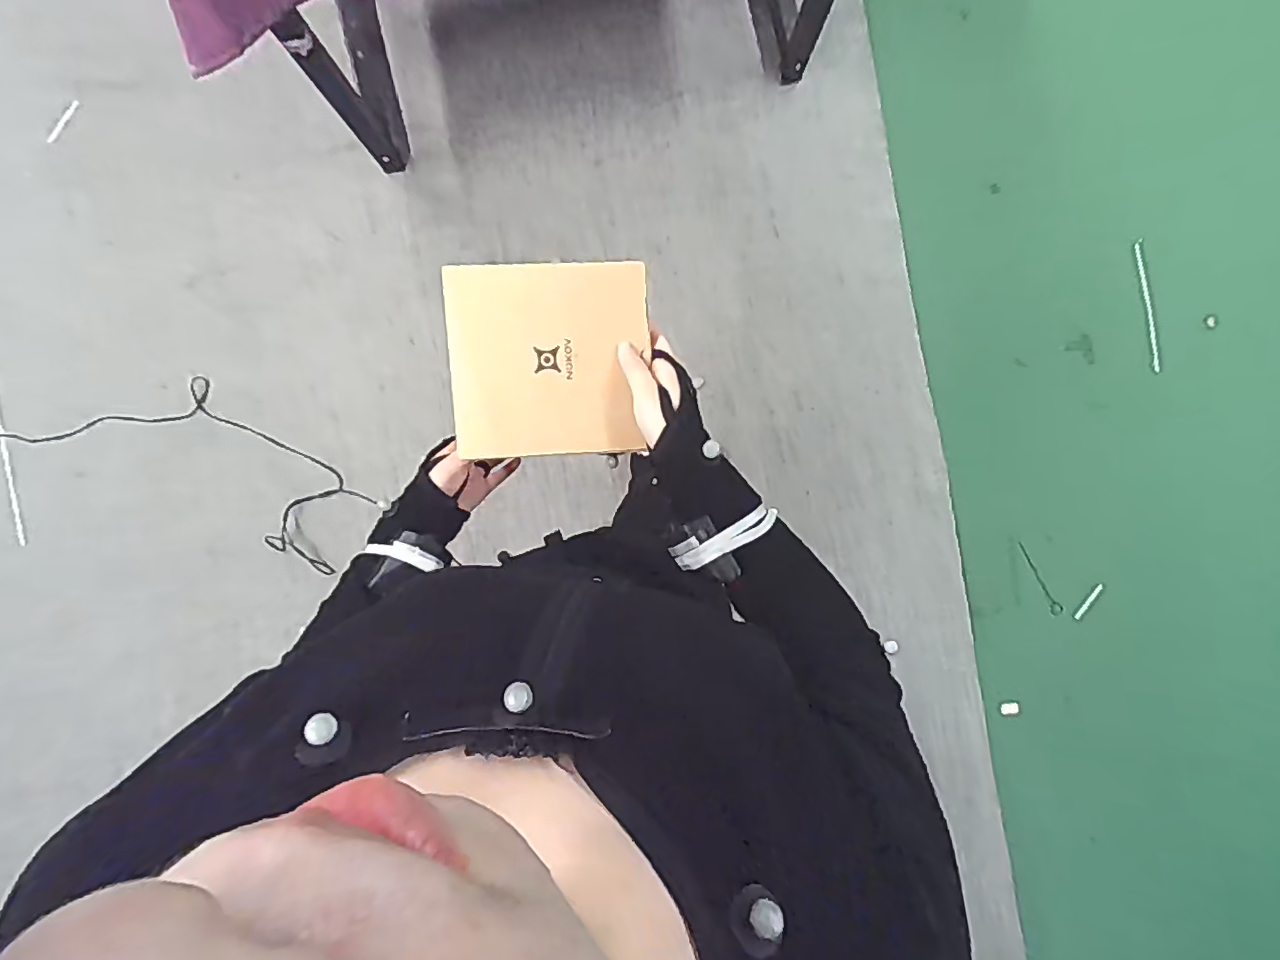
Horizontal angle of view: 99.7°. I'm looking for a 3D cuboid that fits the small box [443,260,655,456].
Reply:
[{"bbox_3d":[-0.085,-0.110,0.547,0.179,0.176,0.168,-4,94,-6],"label":"small box"}]
